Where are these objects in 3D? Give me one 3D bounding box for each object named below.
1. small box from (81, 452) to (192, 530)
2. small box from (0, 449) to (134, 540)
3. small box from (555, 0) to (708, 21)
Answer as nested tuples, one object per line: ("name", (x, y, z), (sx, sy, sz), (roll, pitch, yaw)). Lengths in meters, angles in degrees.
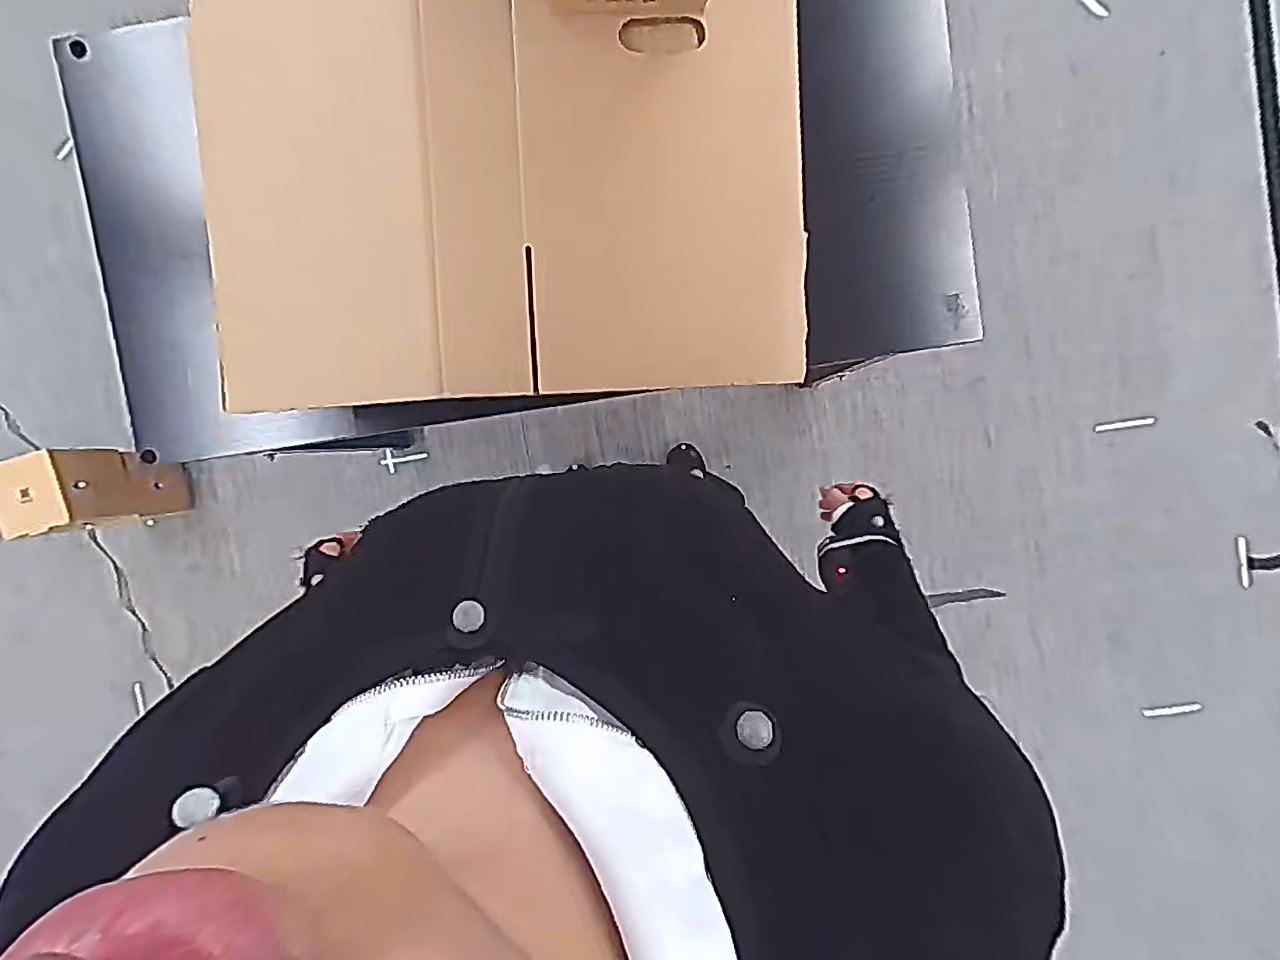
("small box", (-1.369, 0.026, 1.457), (0.168, 0.176, 0.179), (-12, 93, 3))
("small box", (-1.377, 0.029, 1.295), (0.168, 0.176, 0.179), (-16, 91, 2))
("small box", (-0.010, -0.564, 0.479), (0.168, 0.176, 0.179), (-1, 91, -1))
